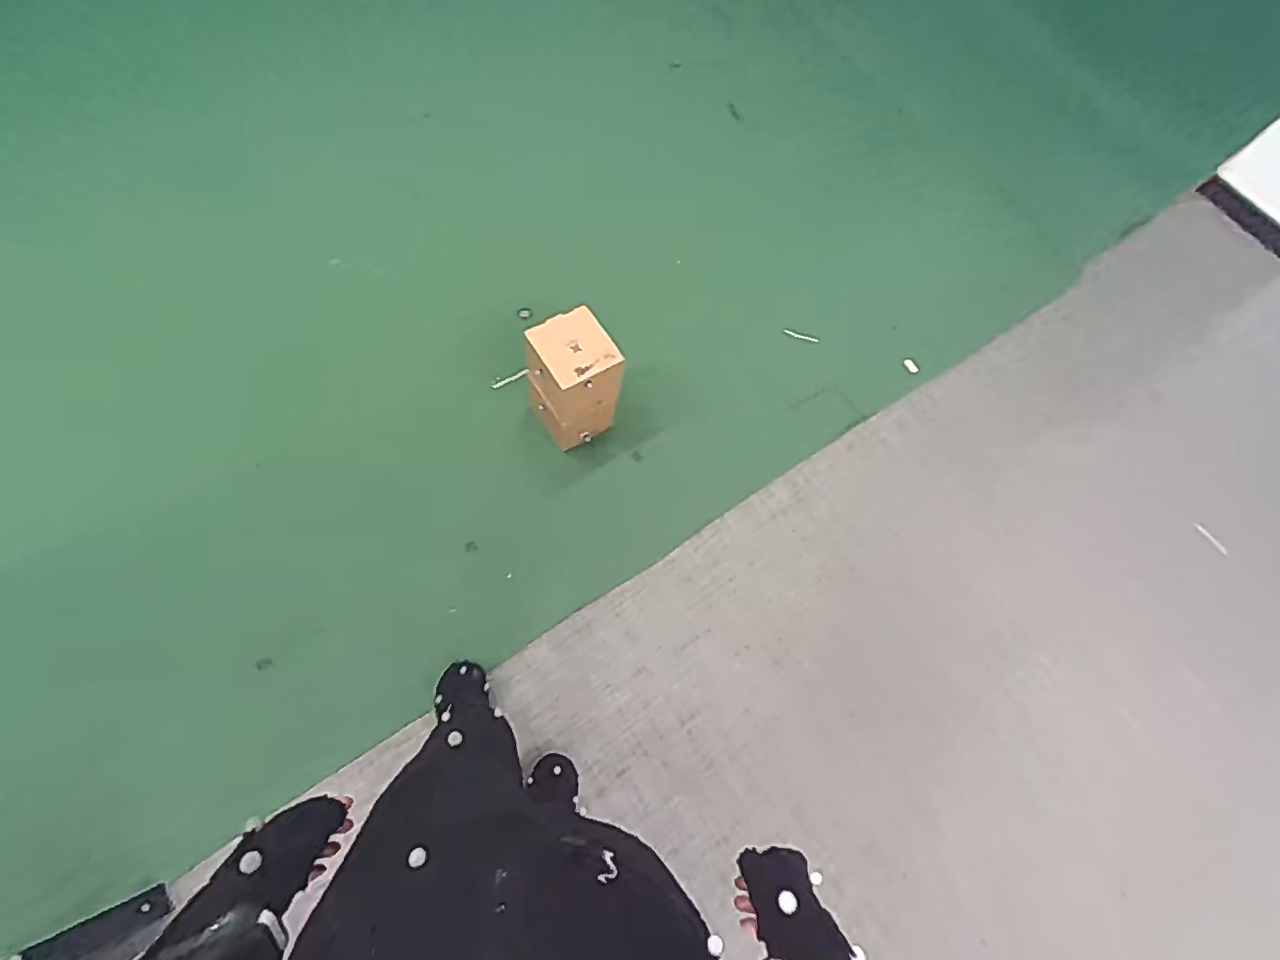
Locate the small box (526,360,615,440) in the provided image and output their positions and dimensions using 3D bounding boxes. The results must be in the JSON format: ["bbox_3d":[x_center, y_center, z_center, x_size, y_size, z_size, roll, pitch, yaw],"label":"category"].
[{"bbox_3d":[-0.185,-0.234,1.422,0.168,0.176,0.179,-30,77,-16],"label":"small box"}]

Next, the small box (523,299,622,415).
[{"bbox_3d":[-0.163,-0.289,1.289,0.168,0.176,0.179,-30,76,-17],"label":"small box"}]
